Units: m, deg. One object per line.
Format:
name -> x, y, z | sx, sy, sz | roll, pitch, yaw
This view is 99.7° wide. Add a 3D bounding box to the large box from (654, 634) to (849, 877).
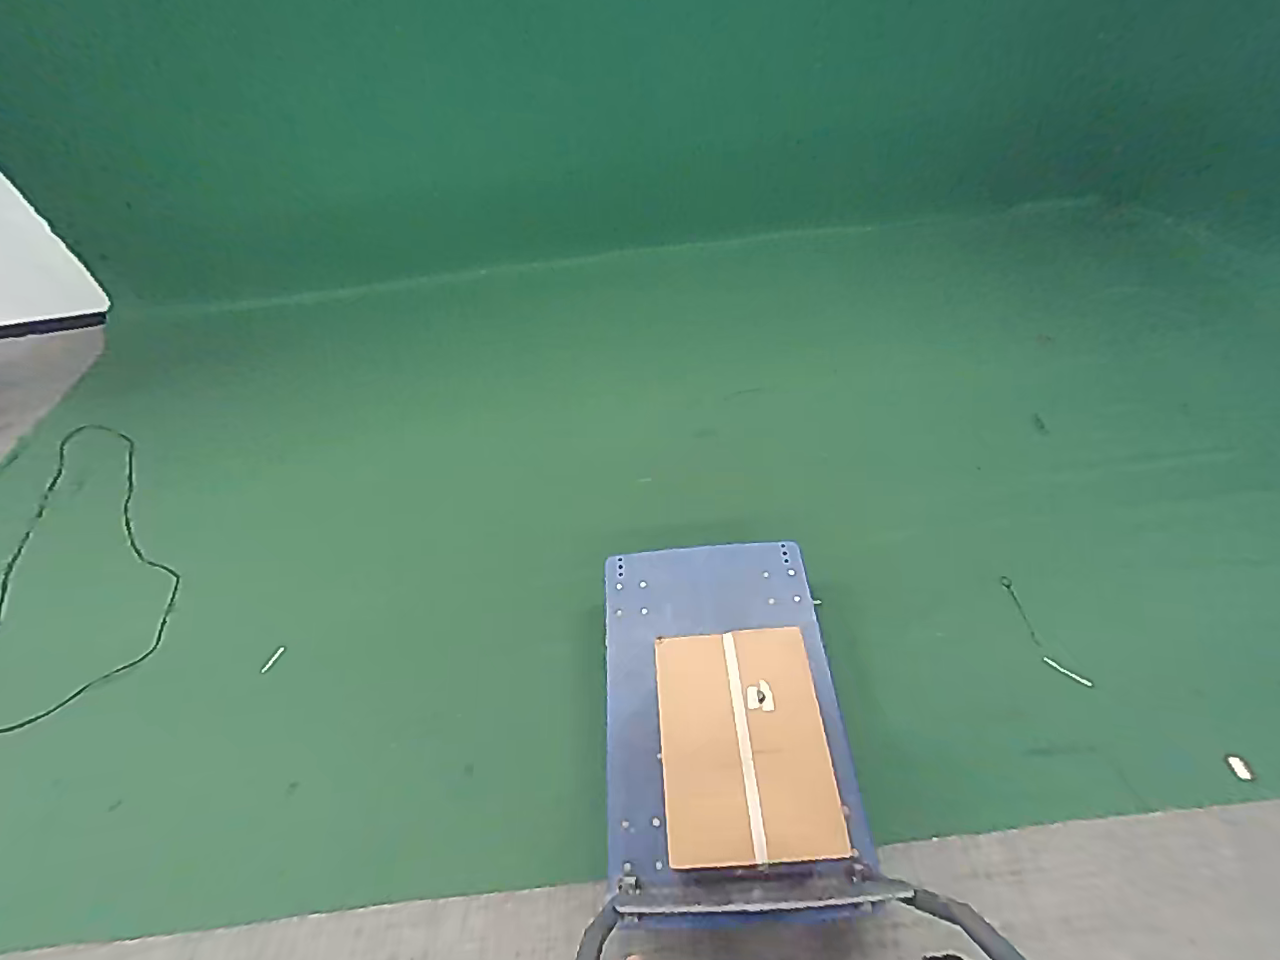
large box -> 0.211, 0.592, 1.160 | 0.320, 0.320, 0.408 | -6, 53, 3
